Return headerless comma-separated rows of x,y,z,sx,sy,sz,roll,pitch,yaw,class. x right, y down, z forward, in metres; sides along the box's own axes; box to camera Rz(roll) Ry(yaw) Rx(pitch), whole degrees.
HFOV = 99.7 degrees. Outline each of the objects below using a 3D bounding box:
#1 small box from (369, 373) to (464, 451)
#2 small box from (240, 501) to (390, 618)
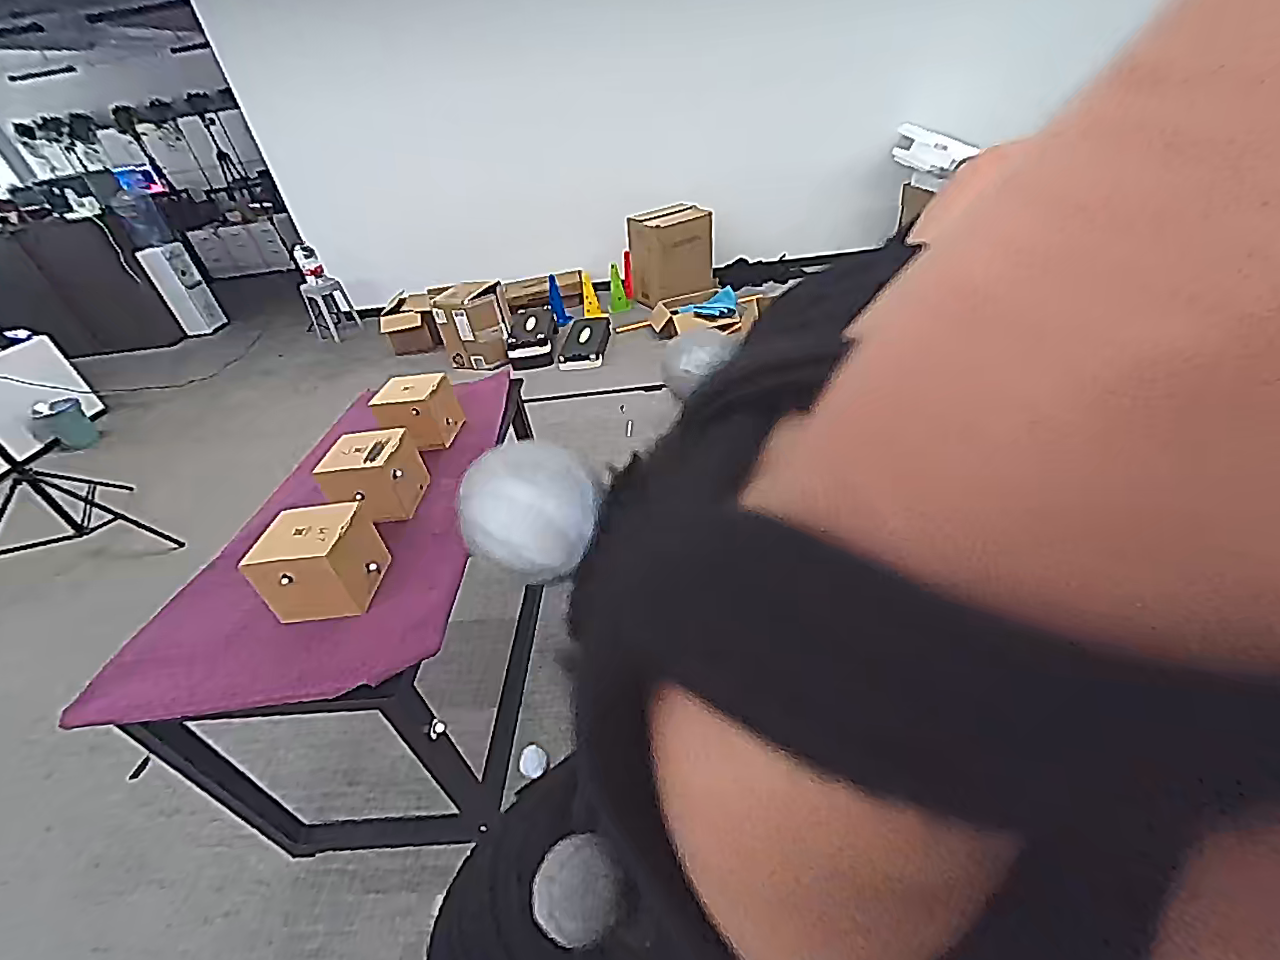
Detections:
-0.648,-0.196,1.588,0.179,0.176,0.168,-4,37,8,small box
-0.650,0.166,1.107,0.179,0.176,0.168,-6,36,3,small box
